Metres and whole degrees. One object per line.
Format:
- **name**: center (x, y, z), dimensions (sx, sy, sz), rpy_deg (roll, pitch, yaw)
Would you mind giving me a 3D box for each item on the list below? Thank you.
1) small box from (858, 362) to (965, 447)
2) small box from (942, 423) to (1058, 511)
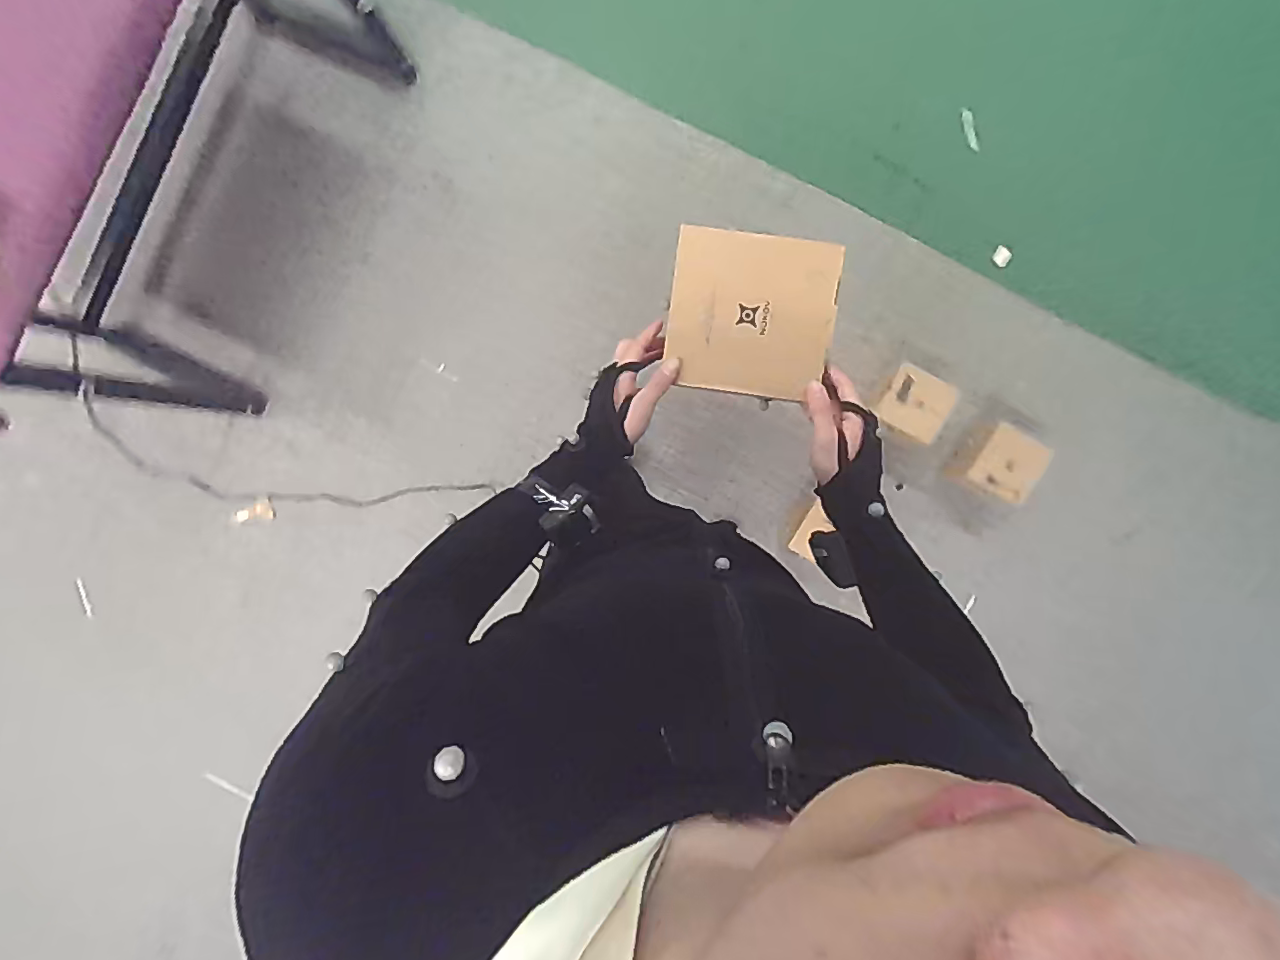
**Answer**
- **small box**: center (0.738, -0.200, 1.496), dimensions (0.179, 0.176, 0.168), rpy_deg (31, 93, 1)
- **small box**: center (0.977, -0.036, 1.488), dimensions (0.168, 0.176, 0.179), rpy_deg (32, 92, 2)
